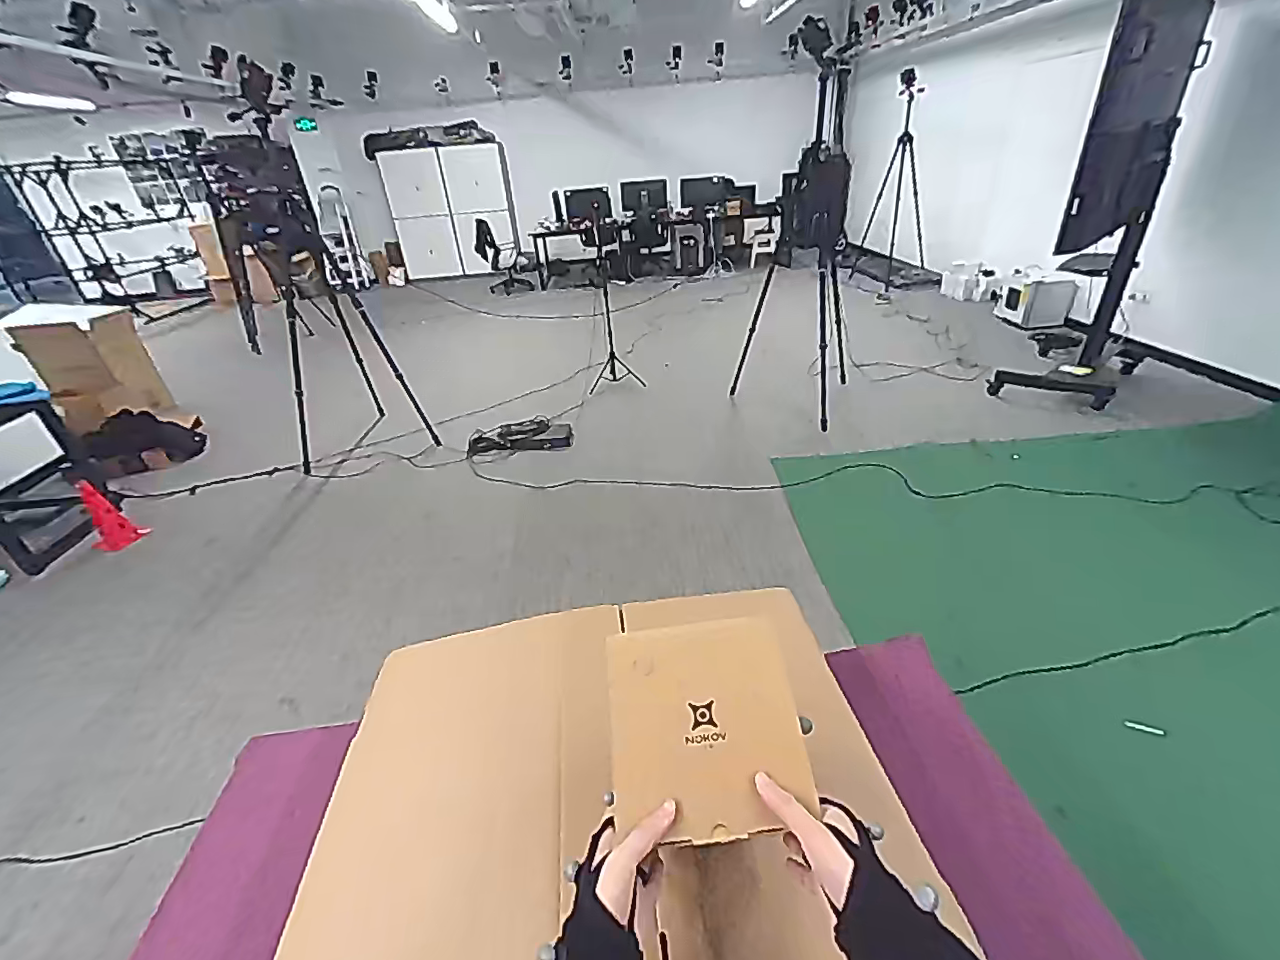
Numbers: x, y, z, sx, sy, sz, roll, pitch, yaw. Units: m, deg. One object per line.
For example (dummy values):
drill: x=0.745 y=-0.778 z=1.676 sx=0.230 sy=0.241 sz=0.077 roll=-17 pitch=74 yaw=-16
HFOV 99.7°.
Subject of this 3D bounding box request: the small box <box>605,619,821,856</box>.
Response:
small box: x=0.061 y=0.256 z=0.538 sx=0.168 sy=0.176 sz=0.179 roll=-8 pitch=59 yaw=1
